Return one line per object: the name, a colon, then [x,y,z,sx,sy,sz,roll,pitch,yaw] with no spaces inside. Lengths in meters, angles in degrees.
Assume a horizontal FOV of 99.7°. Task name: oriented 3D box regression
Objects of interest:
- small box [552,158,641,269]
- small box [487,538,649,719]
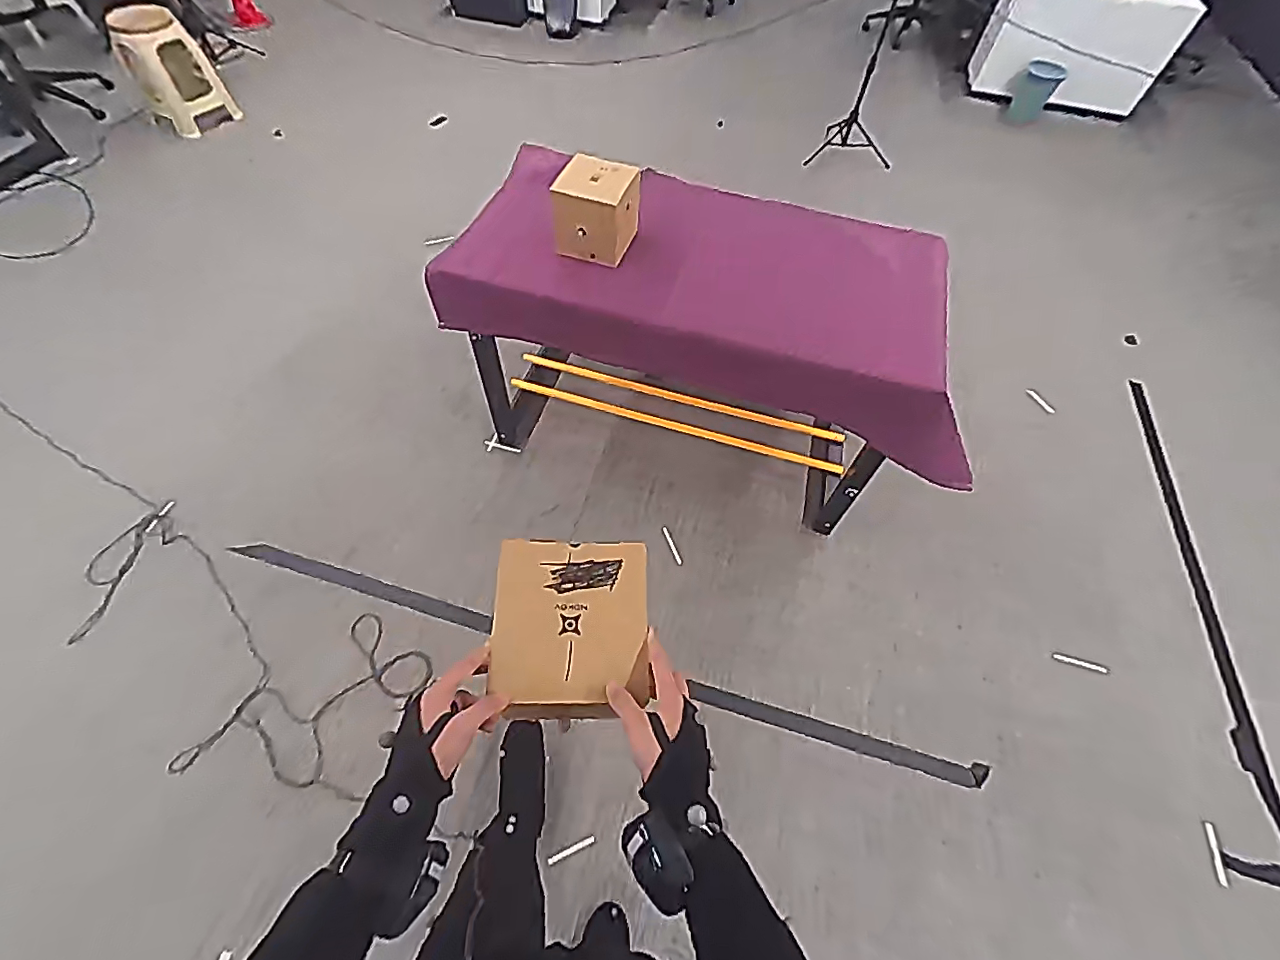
small box: [-0.103,-0.654,1.335,0.168,0.176,0.179,18,58,7]
small box: [-0.080,0.184,0.651,0.168,0.176,0.179,2,61,-5]
